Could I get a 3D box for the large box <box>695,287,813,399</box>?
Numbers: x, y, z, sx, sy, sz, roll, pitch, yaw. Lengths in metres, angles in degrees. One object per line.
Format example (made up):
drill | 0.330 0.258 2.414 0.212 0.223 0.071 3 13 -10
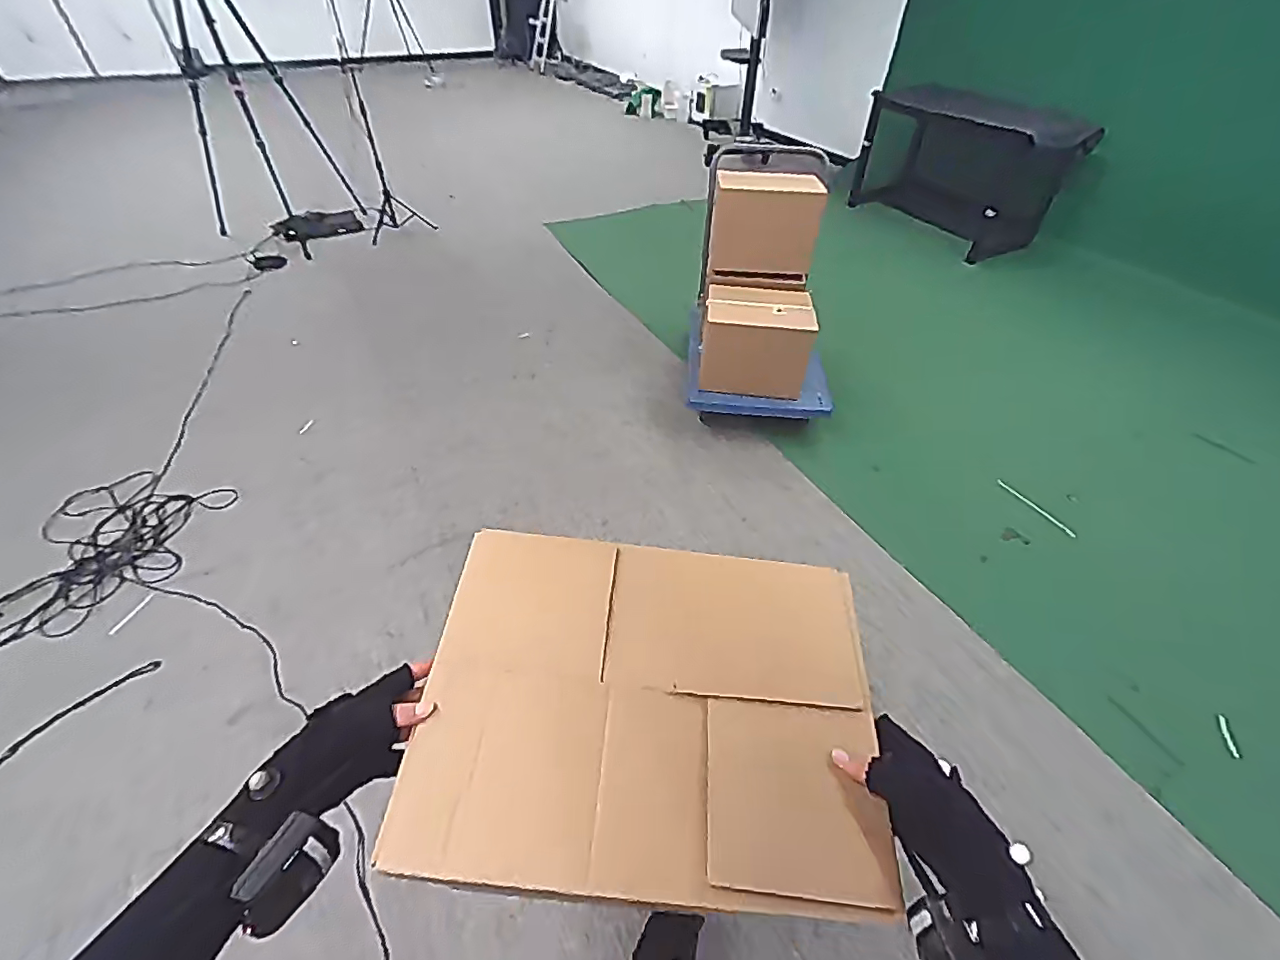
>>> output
large box | 0.438 -0.549 2.168 0.408 0.320 0.320 7 44 3
